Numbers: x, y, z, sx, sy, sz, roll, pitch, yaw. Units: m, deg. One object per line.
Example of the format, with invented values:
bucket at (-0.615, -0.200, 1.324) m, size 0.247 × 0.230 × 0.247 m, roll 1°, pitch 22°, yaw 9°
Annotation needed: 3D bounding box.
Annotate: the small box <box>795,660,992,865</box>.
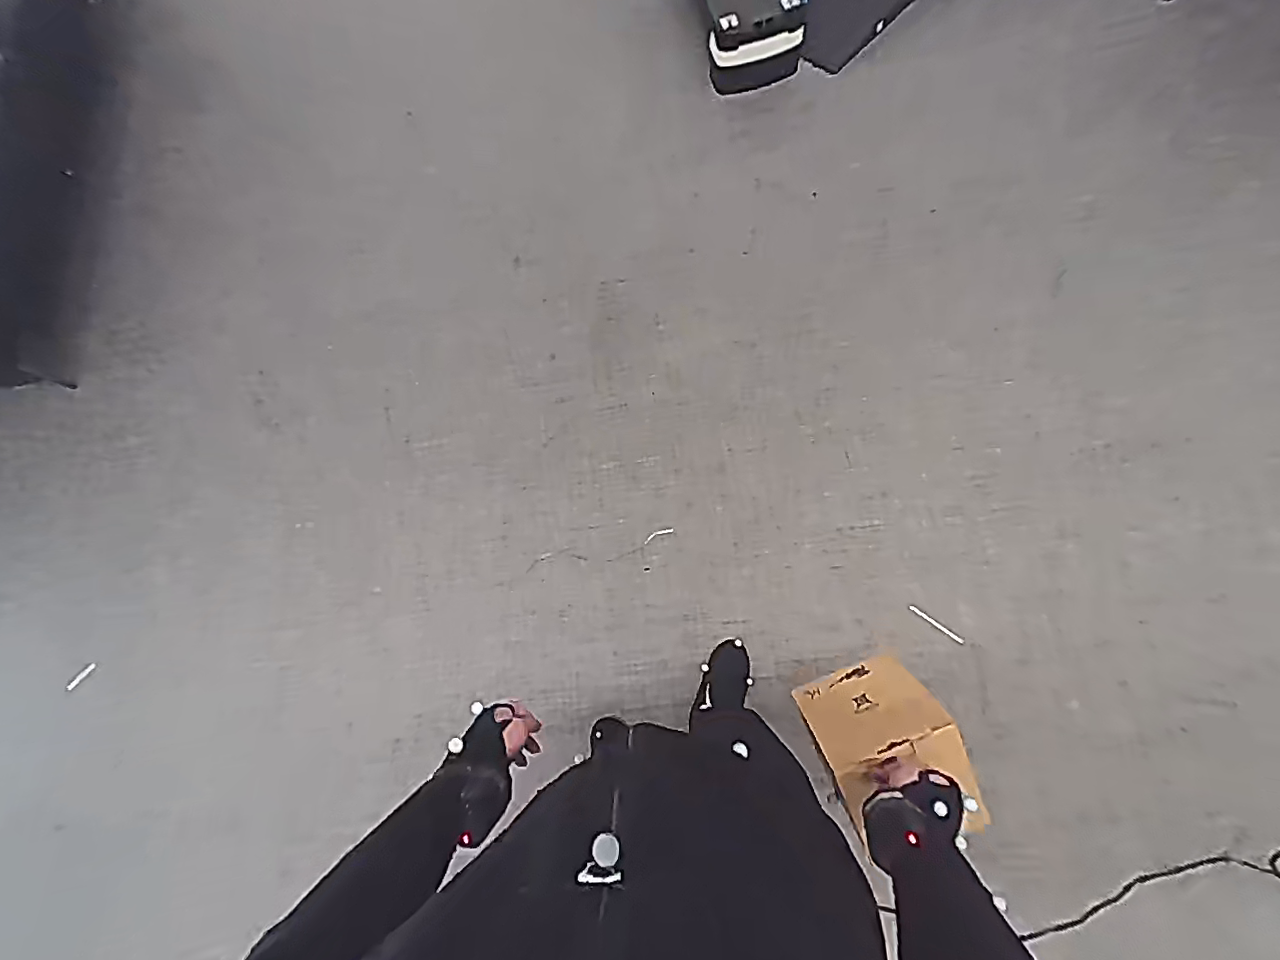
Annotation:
small box at (0.352, 0.398, 0.768) m, size 0.168 × 0.179 × 0.176 m, roll -26°, pitch 99°, yaw 1°
